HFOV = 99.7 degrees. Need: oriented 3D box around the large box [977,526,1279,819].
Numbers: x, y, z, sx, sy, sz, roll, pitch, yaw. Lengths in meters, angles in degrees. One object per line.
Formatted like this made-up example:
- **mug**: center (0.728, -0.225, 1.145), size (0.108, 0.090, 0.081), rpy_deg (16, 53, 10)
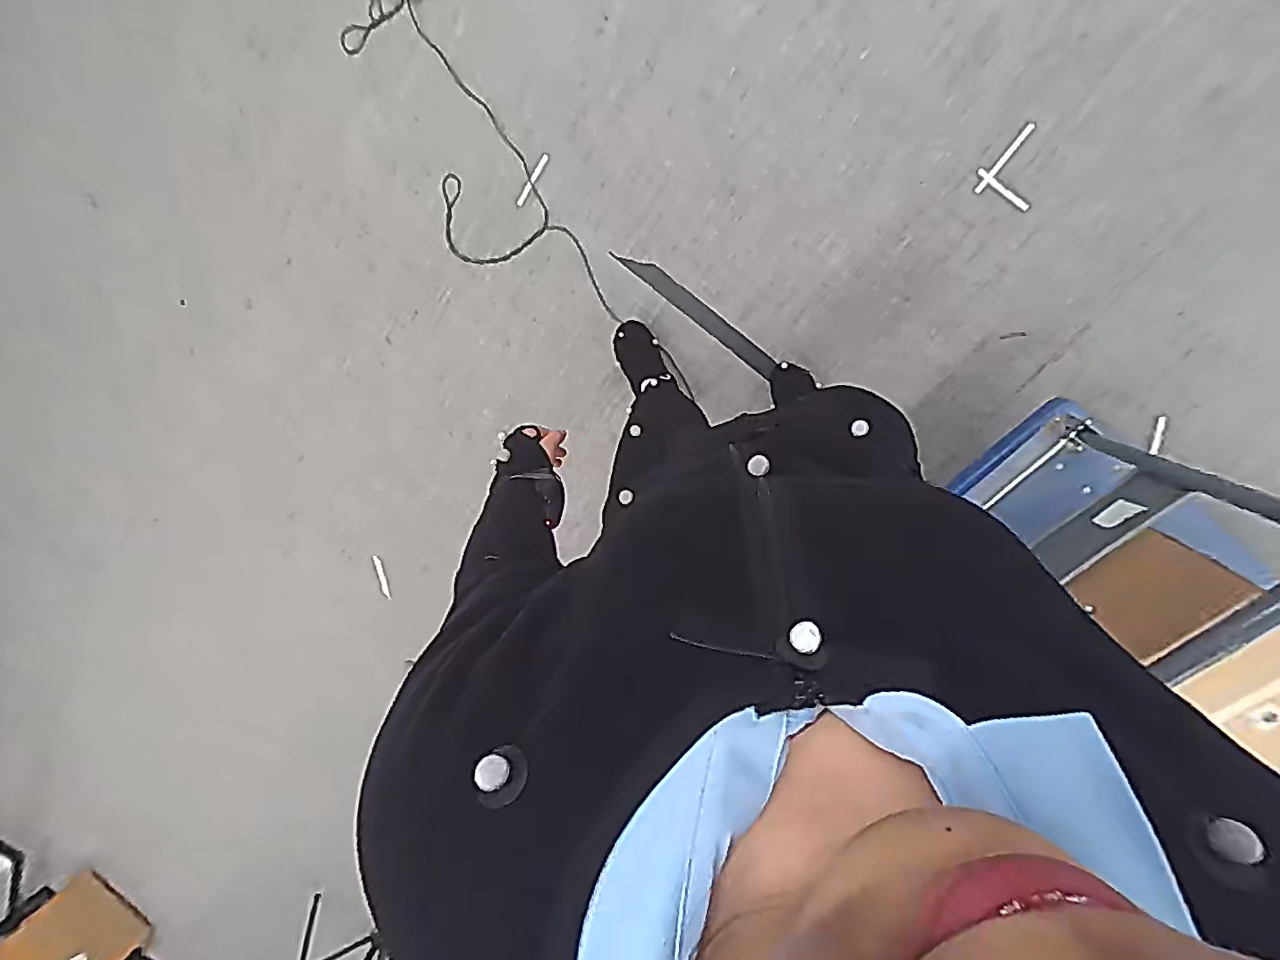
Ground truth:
- **large box**: center (1.007, 0.370, 1.097), size (0.320, 0.320, 0.408), rpy_deg (42, 110, -3)
